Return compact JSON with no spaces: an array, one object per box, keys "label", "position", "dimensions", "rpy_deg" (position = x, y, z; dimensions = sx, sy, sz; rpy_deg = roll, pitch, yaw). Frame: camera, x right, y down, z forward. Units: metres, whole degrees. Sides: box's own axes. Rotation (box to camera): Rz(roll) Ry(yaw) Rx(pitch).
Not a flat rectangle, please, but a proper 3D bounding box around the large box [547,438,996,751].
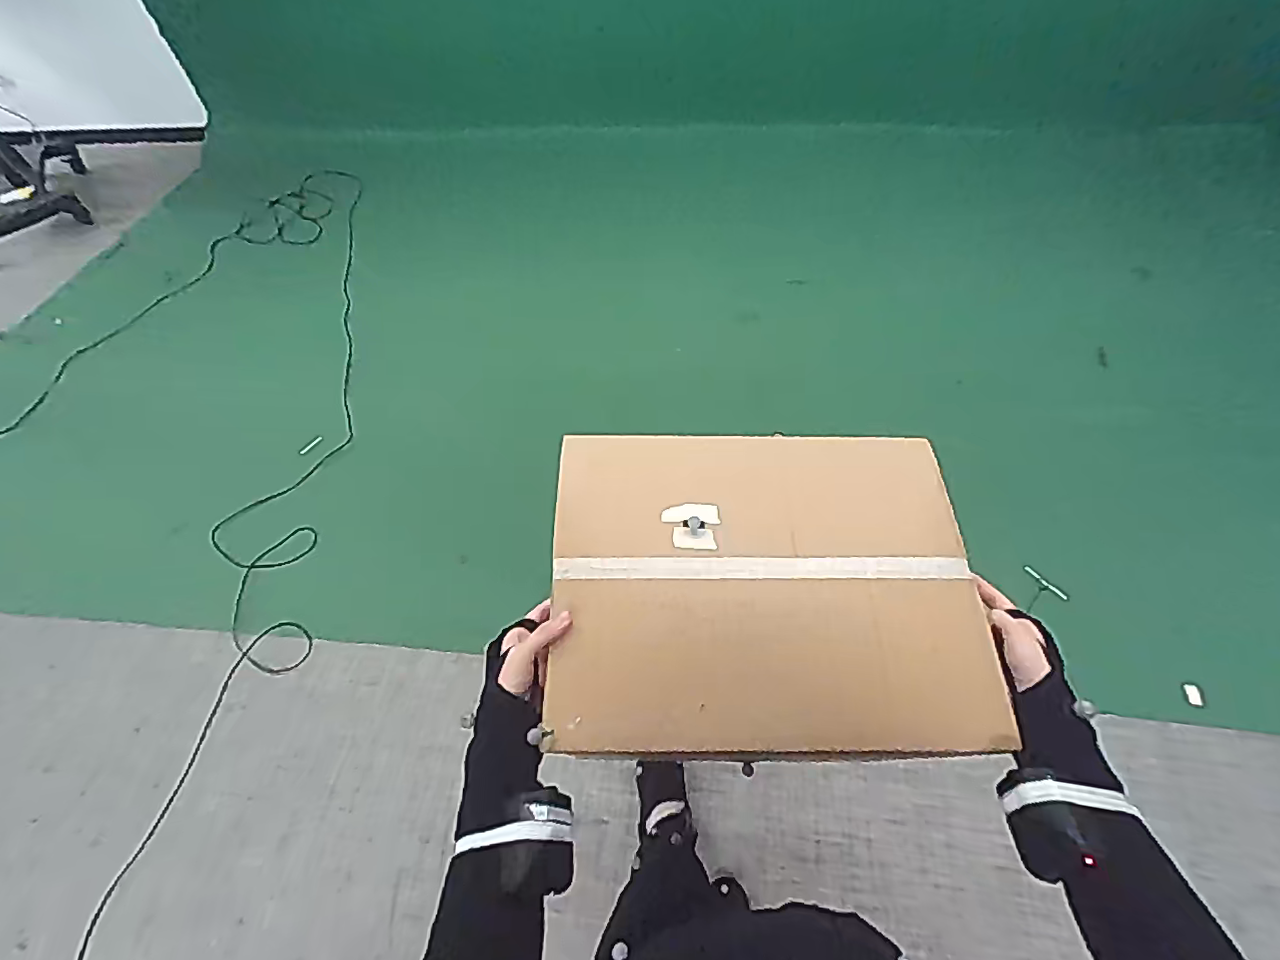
[{"label":"large box","position":[0.117,0.160,0.672],"dimensions":[0.408,0.320,0.320],"rpy_deg":[0,61,0]}]
